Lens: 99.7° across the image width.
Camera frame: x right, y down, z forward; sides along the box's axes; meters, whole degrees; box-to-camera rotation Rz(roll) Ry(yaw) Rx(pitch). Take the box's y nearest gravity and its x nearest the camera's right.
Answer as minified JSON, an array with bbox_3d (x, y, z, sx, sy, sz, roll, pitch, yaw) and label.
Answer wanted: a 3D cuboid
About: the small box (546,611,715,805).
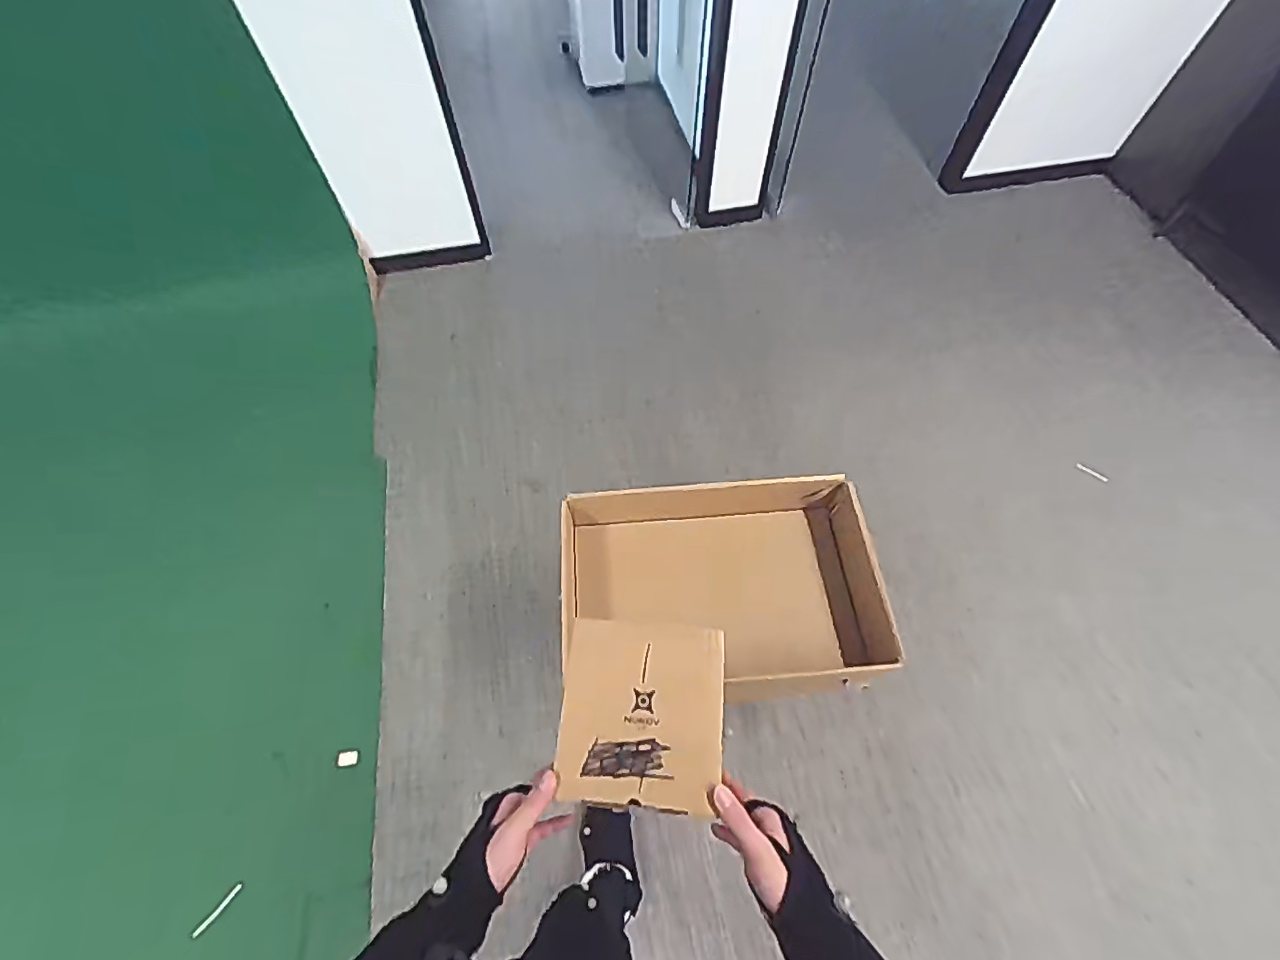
[{"bbox_3d":[0.002,0.261,0.633,0.168,0.176,0.179,2,65,7],"label":"small box"}]
